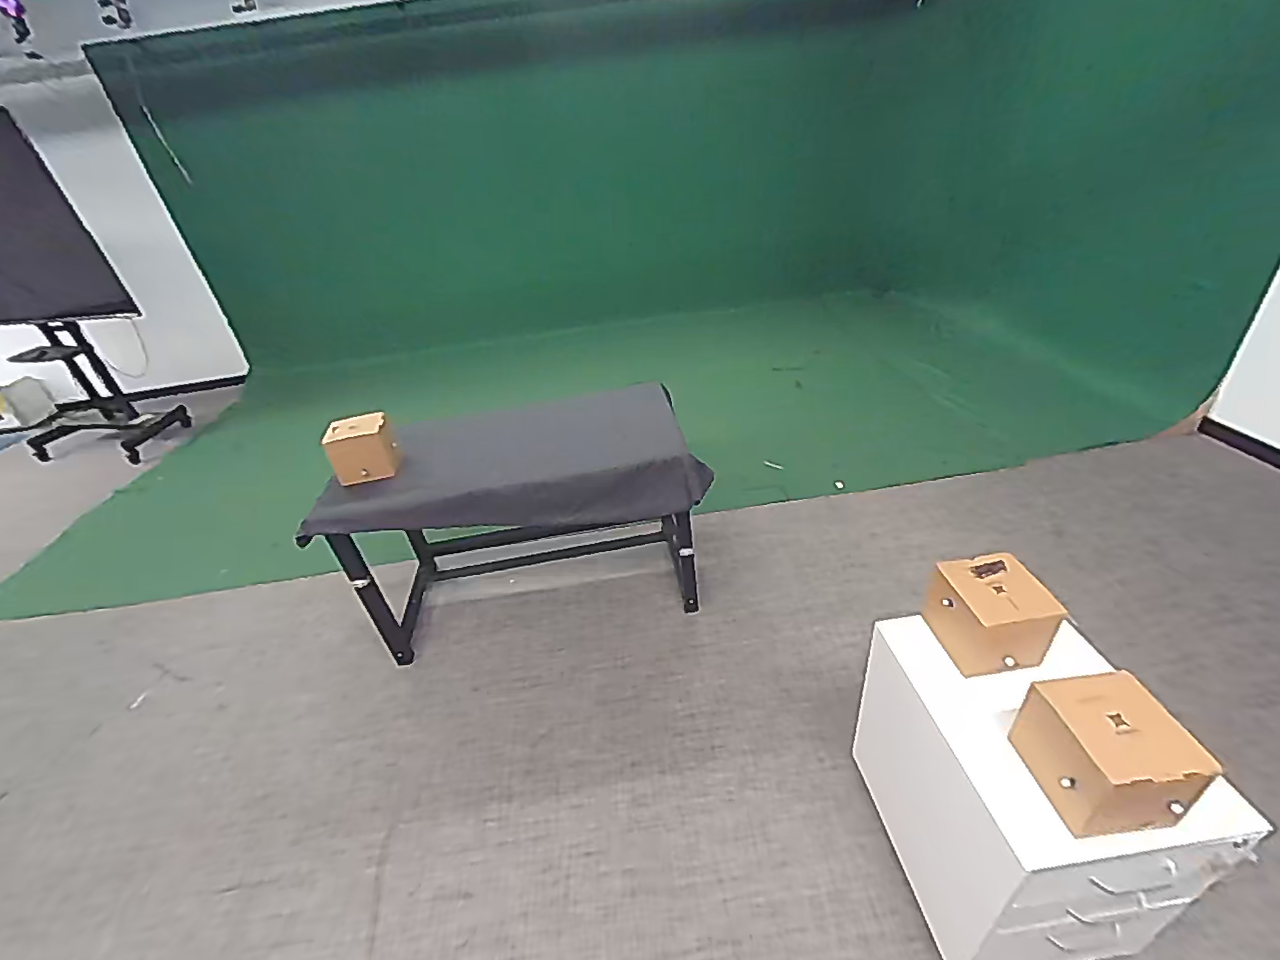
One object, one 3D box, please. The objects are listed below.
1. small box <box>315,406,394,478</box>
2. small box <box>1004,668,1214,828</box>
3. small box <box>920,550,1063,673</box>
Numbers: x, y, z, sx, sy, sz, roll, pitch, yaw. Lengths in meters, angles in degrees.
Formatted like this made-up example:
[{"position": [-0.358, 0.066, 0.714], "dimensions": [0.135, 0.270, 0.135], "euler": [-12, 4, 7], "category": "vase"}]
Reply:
[{"position": [-0.941, -0.127, 1.802], "dimensions": [0.179, 0.176, 0.168], "euler": [-12, 33, -10], "category": "small box"}, {"position": [0.750, 0.444, 0.891], "dimensions": [0.168, 0.176, 0.179], "euler": [-7, 32, -1], "category": "small box"}, {"position": [0.721, 0.276, 1.137], "dimensions": [0.168, 0.176, 0.179], "euler": [-9, 36, -2], "category": "small box"}]
